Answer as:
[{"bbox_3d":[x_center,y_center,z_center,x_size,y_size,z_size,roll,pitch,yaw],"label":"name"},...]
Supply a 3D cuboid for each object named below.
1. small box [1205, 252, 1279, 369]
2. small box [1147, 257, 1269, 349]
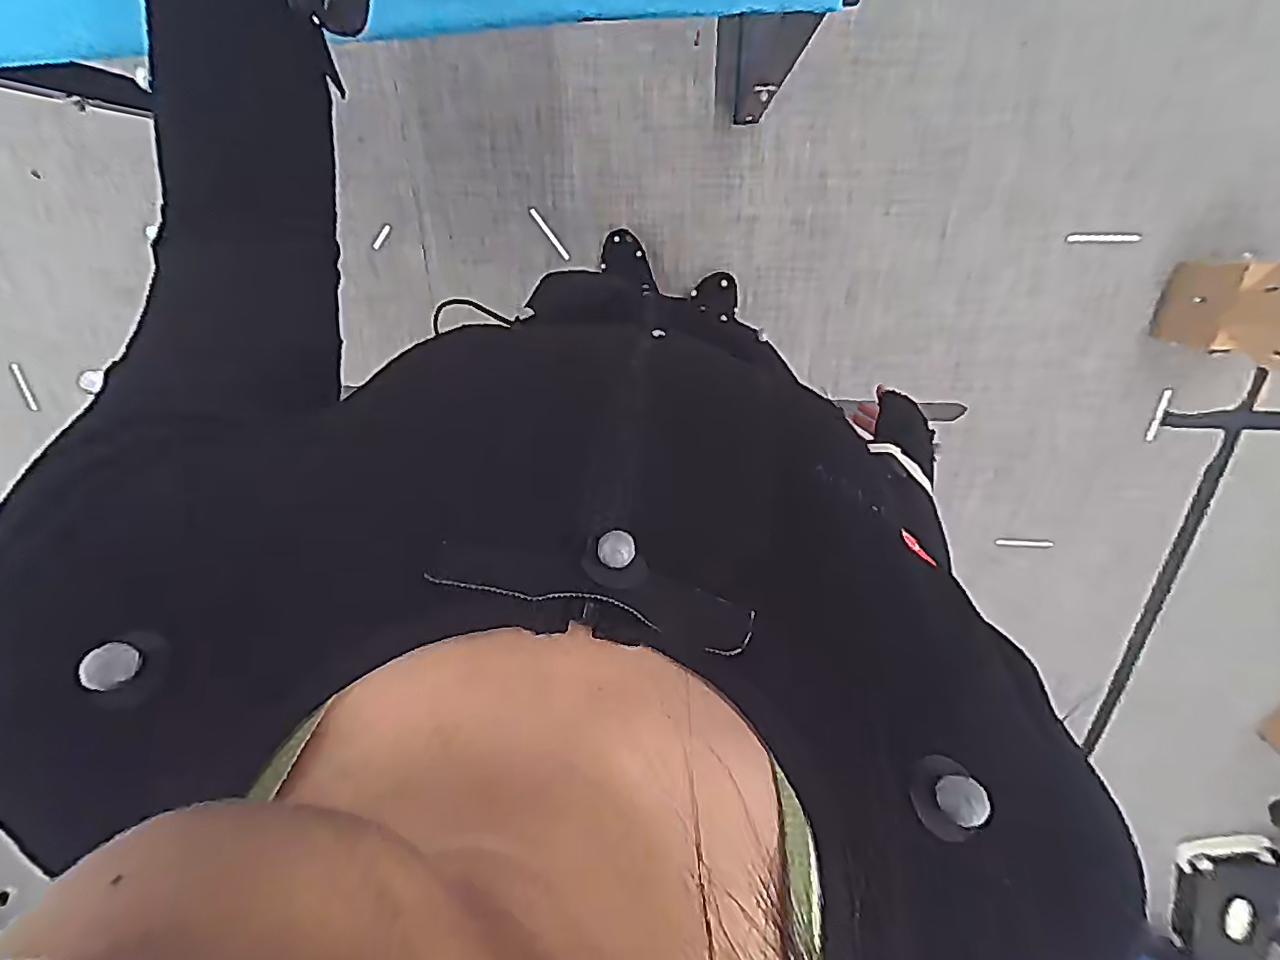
[{"bbox_3d":[1.295,-0.323,1.046,0.168,0.176,0.179,35,112,-12],"label":"small box"},{"bbox_3d":[1.294,-0.393,1.198,0.168,0.176,0.179,3,114,2],"label":"small box"}]
